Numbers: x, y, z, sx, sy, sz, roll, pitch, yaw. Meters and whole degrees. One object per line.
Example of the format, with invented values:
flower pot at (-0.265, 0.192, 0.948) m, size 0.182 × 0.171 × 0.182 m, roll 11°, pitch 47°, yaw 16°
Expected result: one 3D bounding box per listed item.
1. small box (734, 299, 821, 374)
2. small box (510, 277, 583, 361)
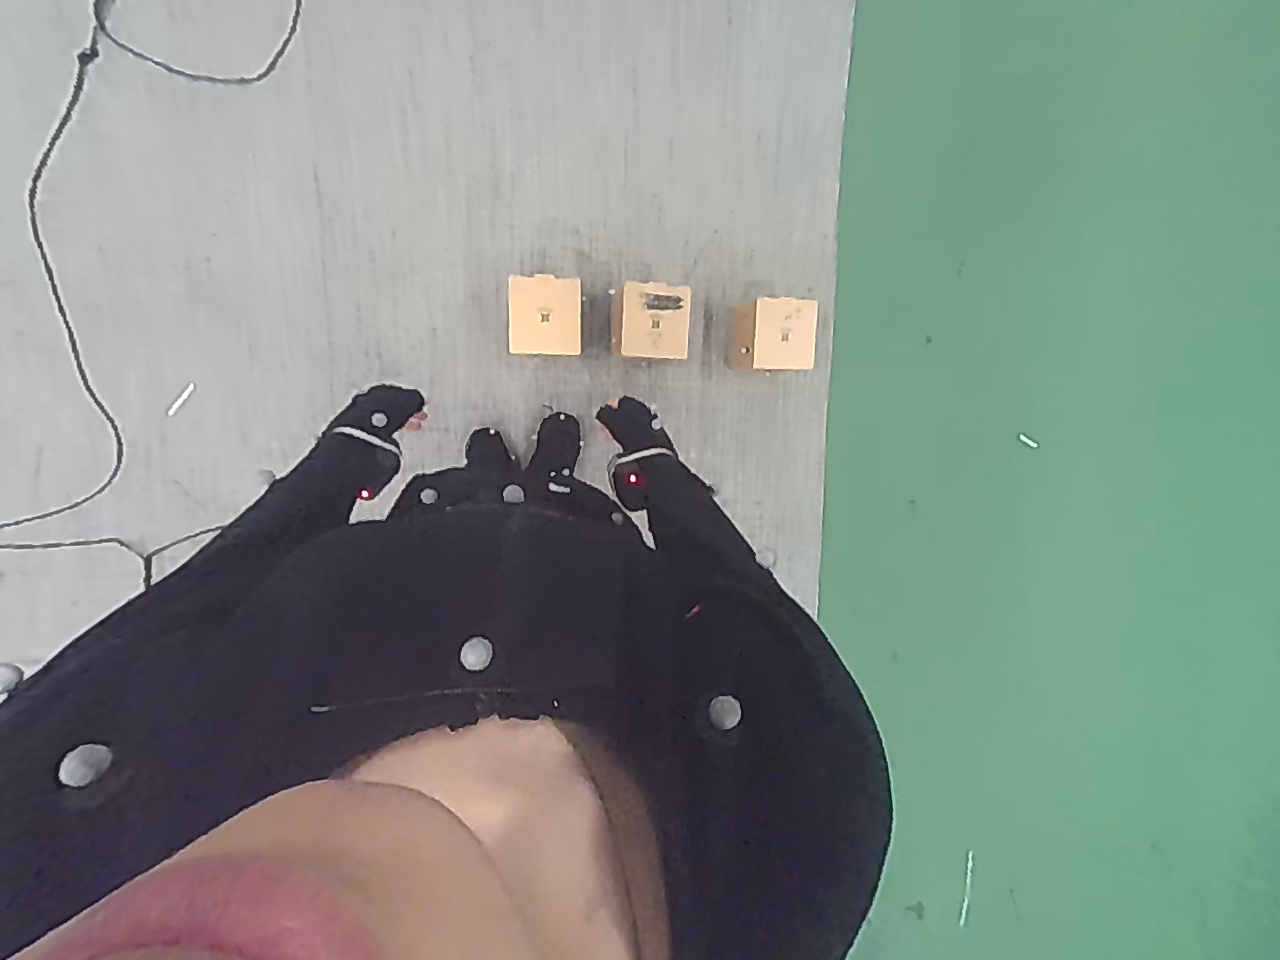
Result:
small box at (0.355, -0.370, 1.424) m, size 0.168 × 0.176 × 0.179 m, roll -1°, pitch 99°, yaw -11°
small box at (-0.225, -0.385, 1.316) m, size 0.168 × 0.176 × 0.179 m, roll -1°, pitch 98°, yaw -10°
